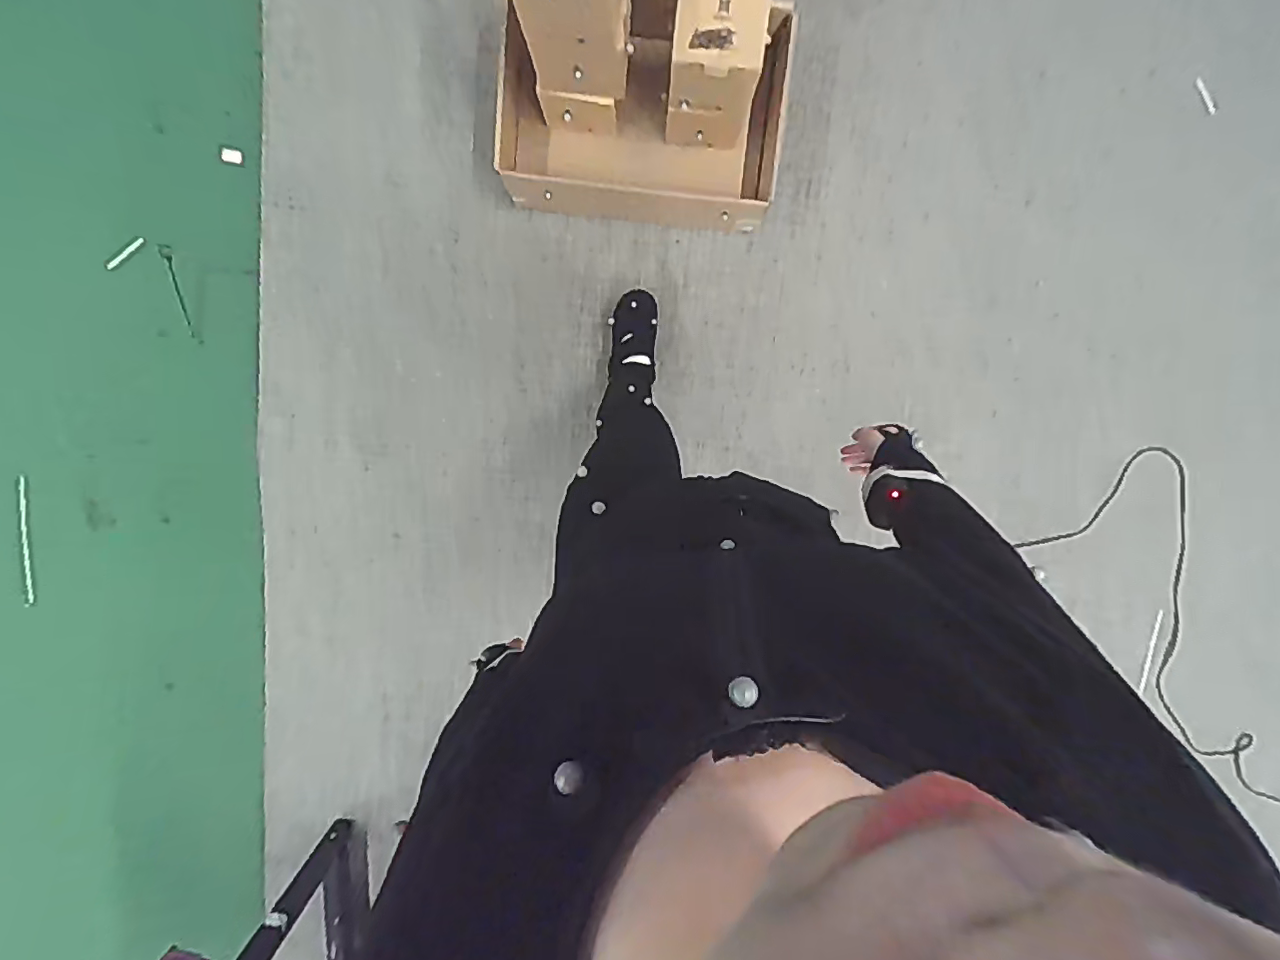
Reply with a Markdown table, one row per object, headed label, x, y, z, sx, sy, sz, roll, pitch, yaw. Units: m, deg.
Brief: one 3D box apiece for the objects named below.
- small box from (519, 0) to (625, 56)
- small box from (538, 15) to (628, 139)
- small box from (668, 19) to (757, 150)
| label | x | y | z | sx | sy | sz | roll | pitch | yaw |
| --- | --- | --- | --- | --- | --- | --- | --- | --- | --- |
| small box | -0.108 | -0.839 | 0.869 | 0.168 | 0.176 | 0.179 | 8 | 99 | -2 |
| small box | -0.120 | -0.890 | 1.194 | 0.168 | 0.176 | 0.179 | 9 | 99 | -2 |
| small box | 0.152 | -0.861 | 1.195 | 0.168 | 0.176 | 0.179 | 6 | 100 | 0 |
